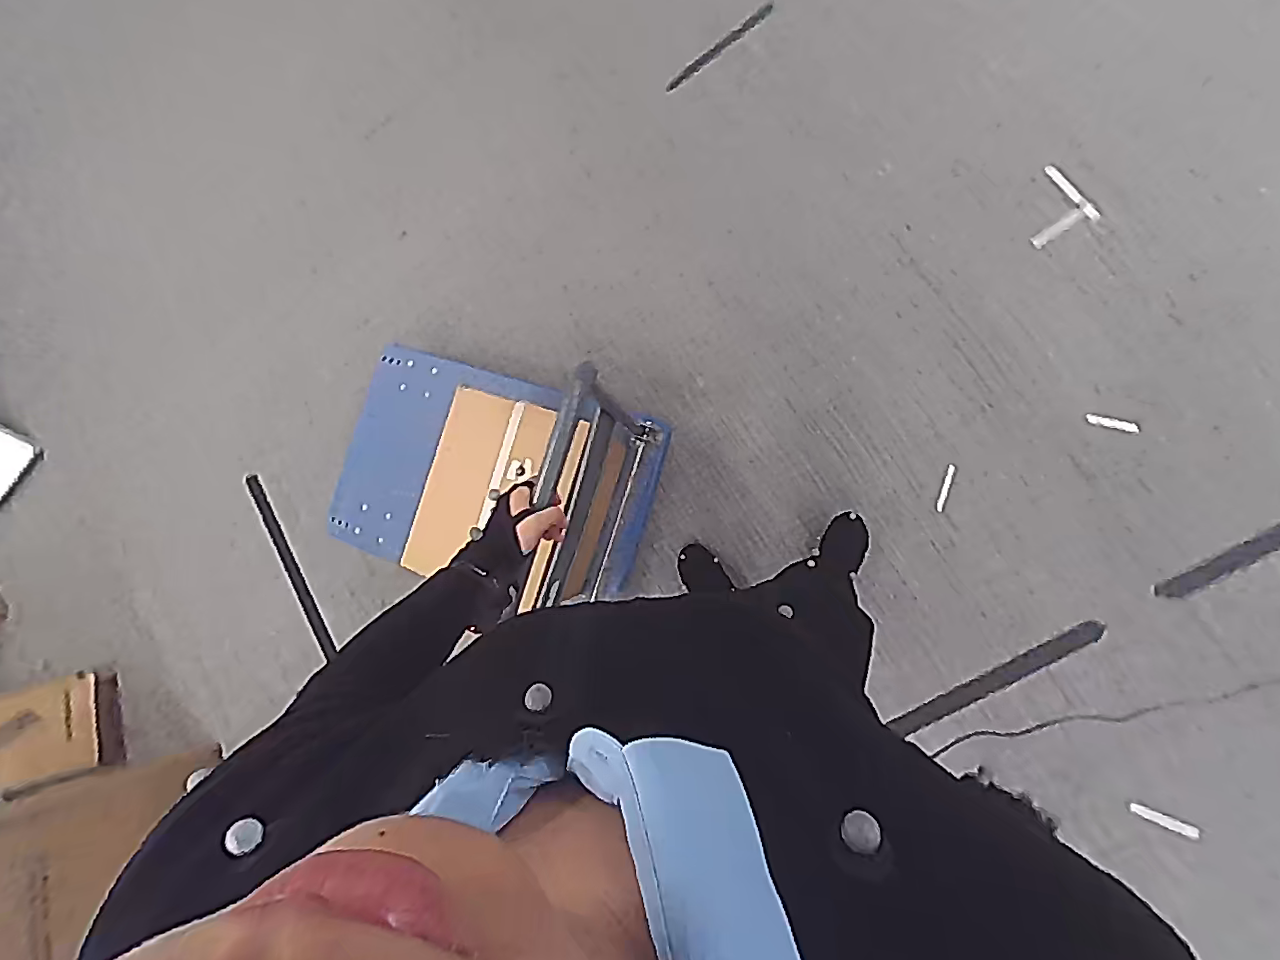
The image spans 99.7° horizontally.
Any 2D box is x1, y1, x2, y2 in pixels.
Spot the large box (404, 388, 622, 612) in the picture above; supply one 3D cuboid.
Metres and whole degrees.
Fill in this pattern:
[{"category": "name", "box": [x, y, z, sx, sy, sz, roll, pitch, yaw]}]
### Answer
[{"category": "large box", "box": [-0.269, 0.050, 1.250, 0.320, 0.320, 0.408, 17, 88, 12]}]
